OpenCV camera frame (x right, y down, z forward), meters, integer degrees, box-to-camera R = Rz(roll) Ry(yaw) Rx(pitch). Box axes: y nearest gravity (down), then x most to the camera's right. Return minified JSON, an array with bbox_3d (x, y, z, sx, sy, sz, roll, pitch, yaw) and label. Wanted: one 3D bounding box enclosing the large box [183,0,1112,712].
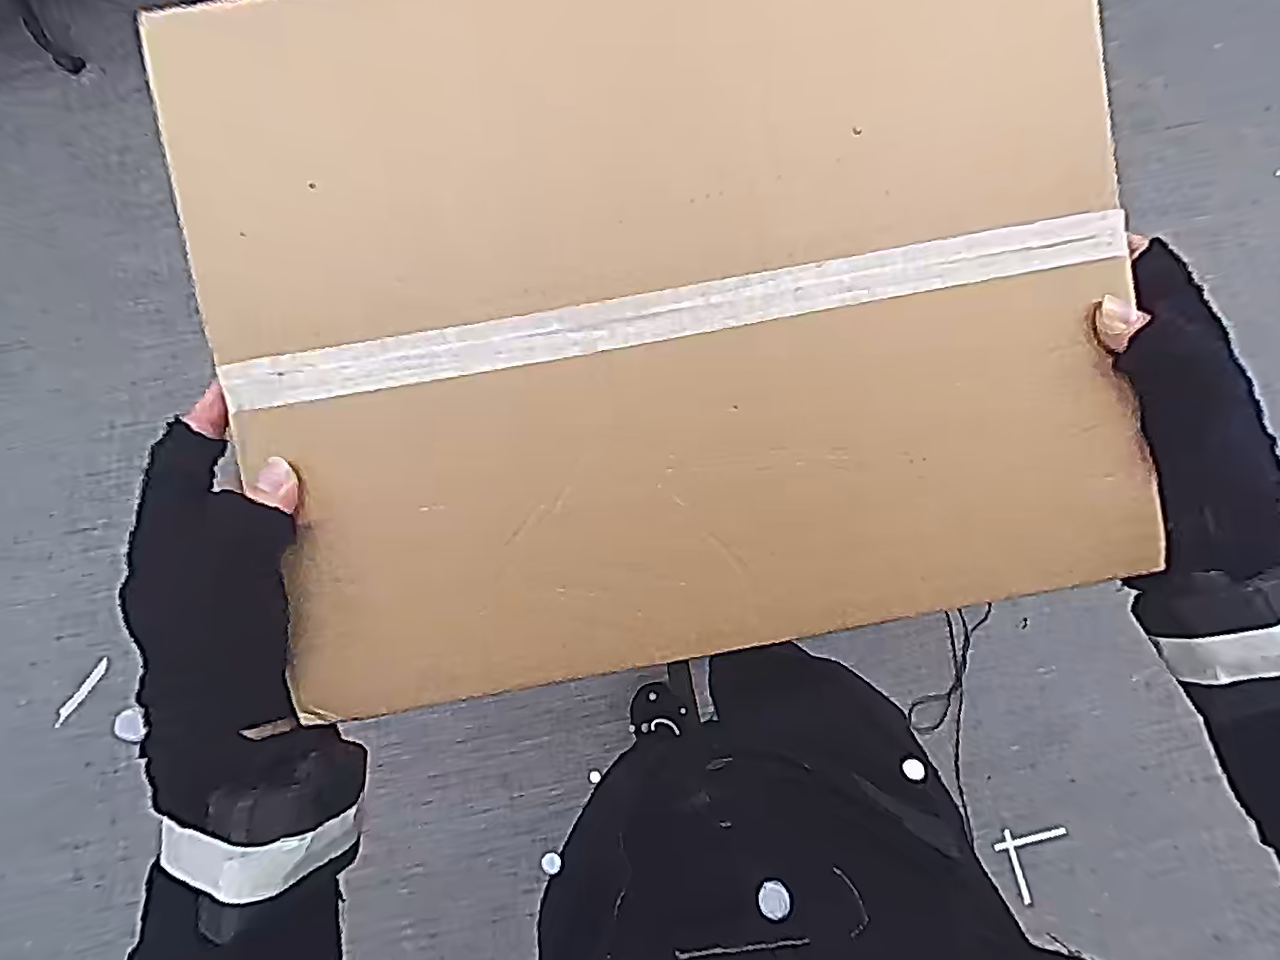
[{"bbox_3d":[0.012,-0.082,0.402,0.408,0.320,0.320,-10,93,-1],"label":"large box"}]
